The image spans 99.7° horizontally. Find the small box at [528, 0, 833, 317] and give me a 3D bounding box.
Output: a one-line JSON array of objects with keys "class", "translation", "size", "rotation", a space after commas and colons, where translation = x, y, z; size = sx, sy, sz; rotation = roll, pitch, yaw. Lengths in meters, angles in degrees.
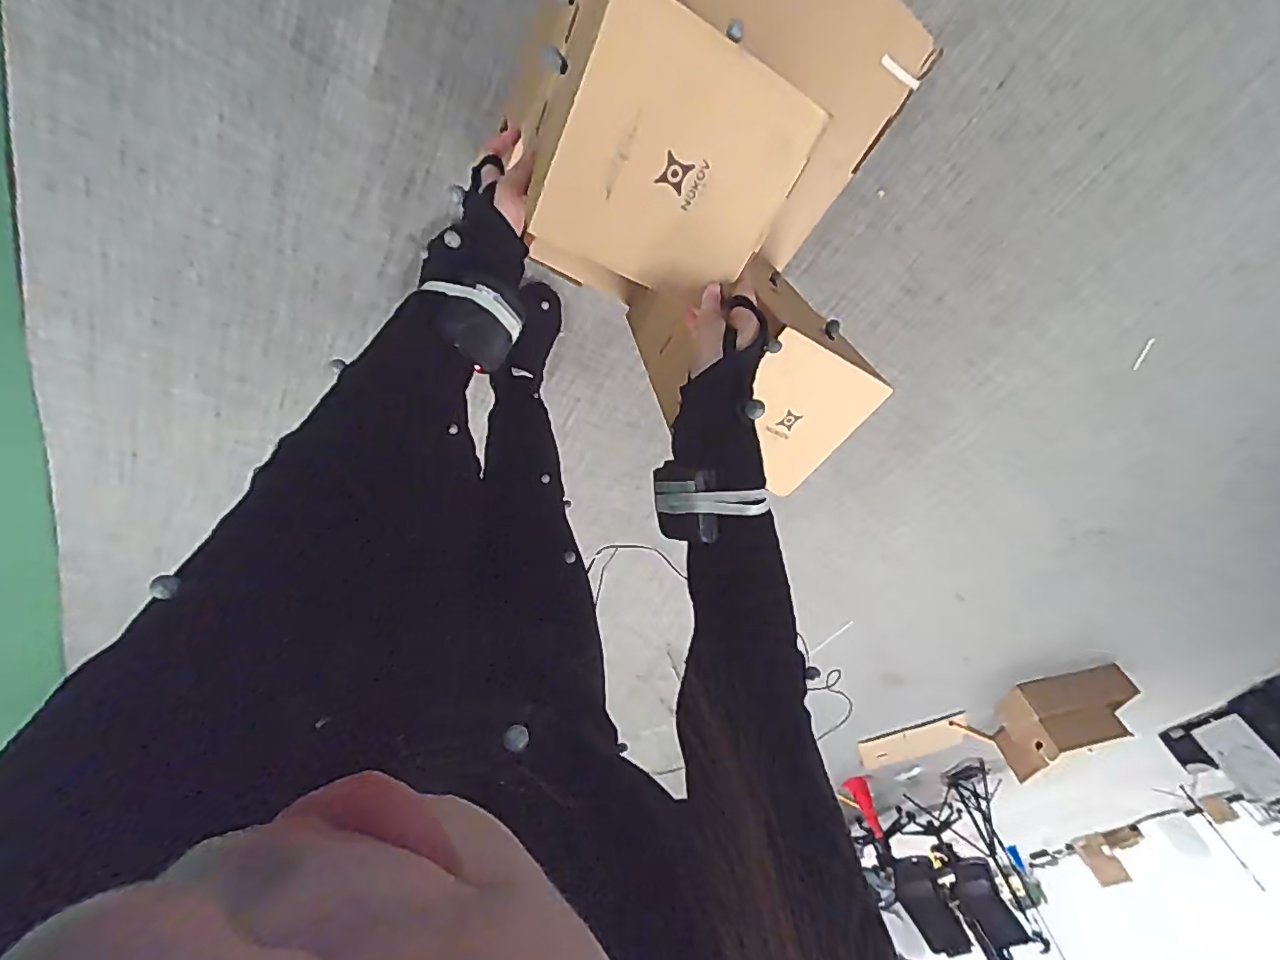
[{"class": "small box", "translation": [0.016, -0.273, 0.453], "size": [0.179, 0.176, 0.168], "rotation": [16, 126, -24]}]

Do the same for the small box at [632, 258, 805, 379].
[{"class": "small box", "translation": [0.110, -0.221, 0.748], "size": [0.179, 0.176, 0.168], "rotation": [19, 125, -29]}]

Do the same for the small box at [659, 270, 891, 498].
[{"class": "small box", "translation": [0.140, -0.113, 0.629], "size": [0.168, 0.176, 0.179], "rotation": [19, 127, -29]}]
